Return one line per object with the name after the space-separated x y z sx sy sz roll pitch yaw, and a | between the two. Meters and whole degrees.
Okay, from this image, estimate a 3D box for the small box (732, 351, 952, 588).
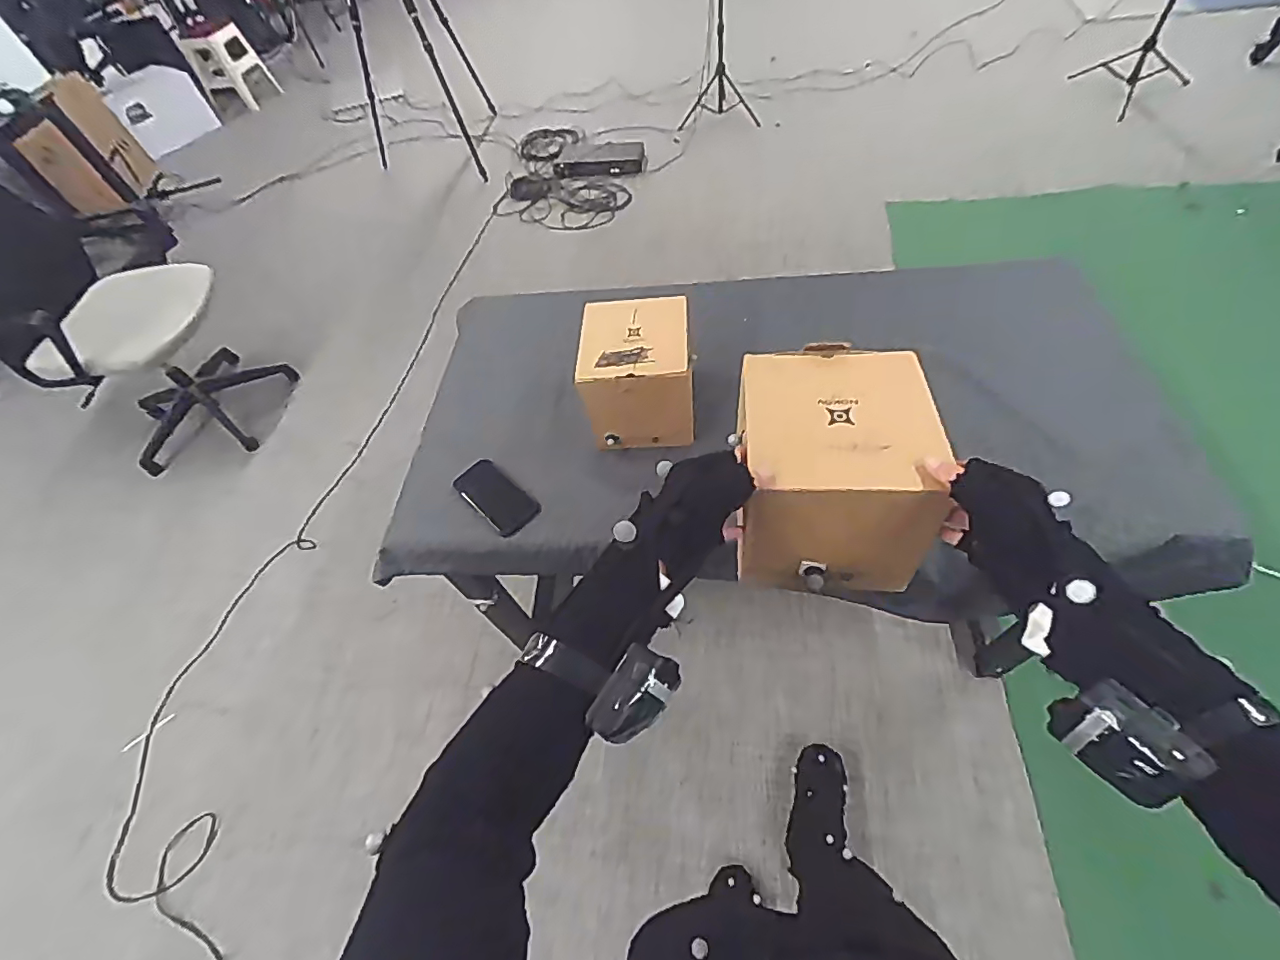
0.181 -0.011 0.550 0.168 0.176 0.179 1 52 7 | small box

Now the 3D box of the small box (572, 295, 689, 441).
-0.005 -0.175 0.886 0.168 0.176 0.179 -2 55 6 | small box
